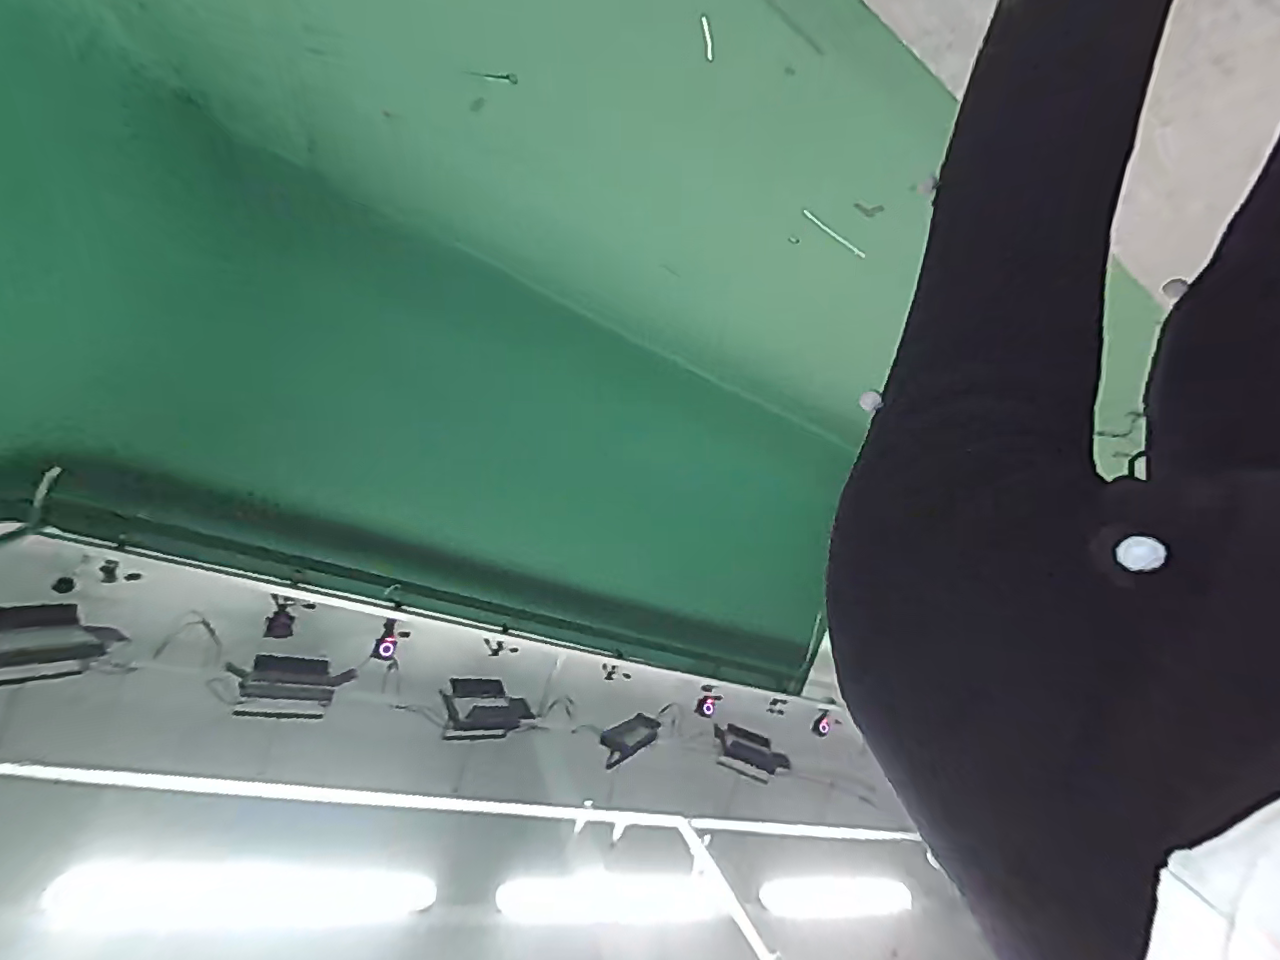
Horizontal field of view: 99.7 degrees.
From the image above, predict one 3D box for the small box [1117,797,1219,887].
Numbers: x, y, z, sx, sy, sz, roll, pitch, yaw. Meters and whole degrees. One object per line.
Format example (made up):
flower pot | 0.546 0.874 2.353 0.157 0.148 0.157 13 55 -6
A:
small box | 1.671 1.135 1.706 0.168 0.176 0.179 19 -179 -25
